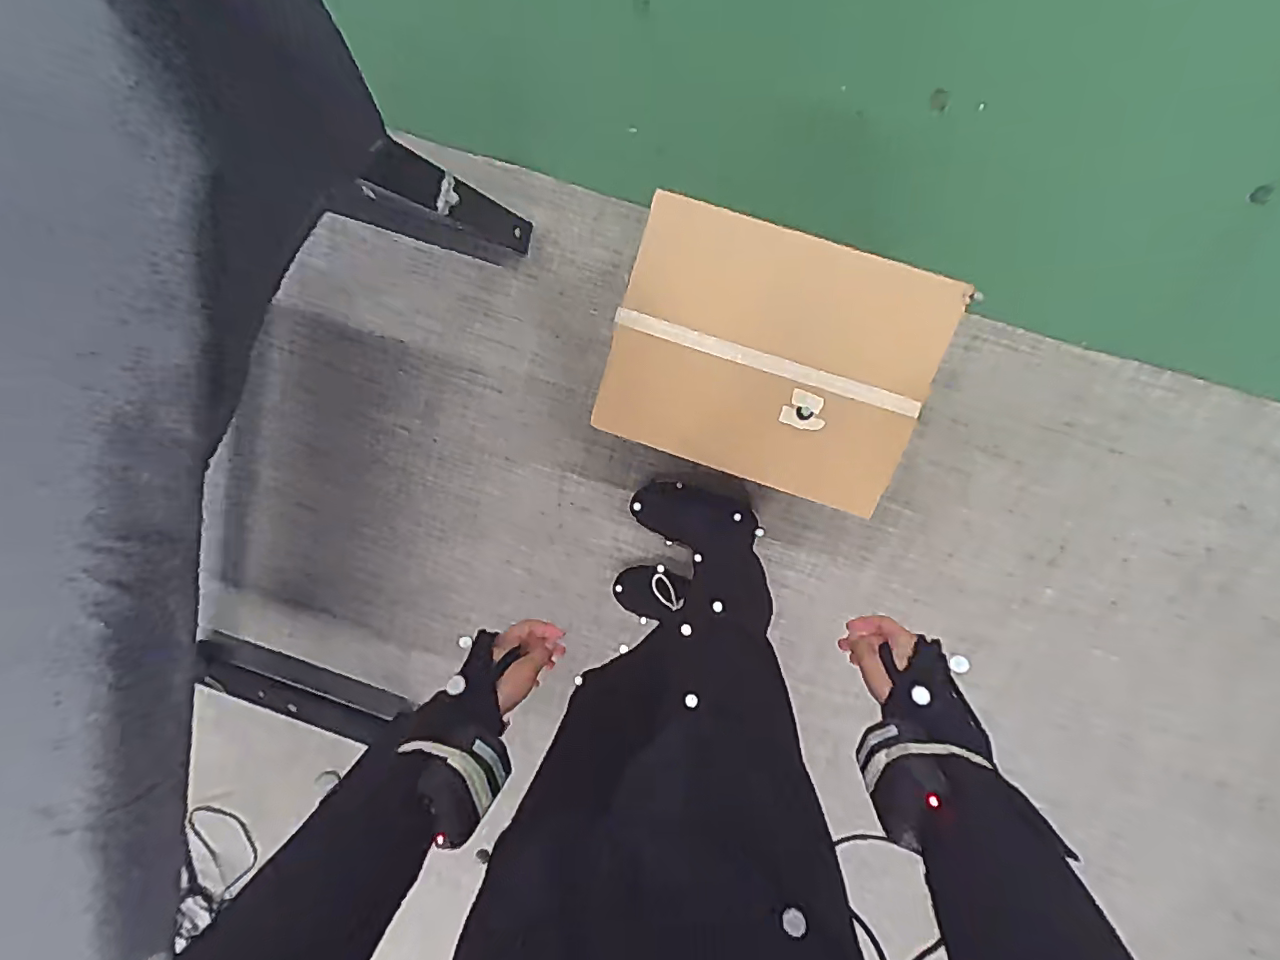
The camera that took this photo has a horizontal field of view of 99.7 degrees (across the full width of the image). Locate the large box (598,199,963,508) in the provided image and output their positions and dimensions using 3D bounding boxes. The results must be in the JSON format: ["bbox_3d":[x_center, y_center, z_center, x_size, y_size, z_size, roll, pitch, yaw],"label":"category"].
[{"bbox_3d":[0.184,-0.191,0.851,0.408,0.320,0.320,18,105,3],"label":"large box"}]
